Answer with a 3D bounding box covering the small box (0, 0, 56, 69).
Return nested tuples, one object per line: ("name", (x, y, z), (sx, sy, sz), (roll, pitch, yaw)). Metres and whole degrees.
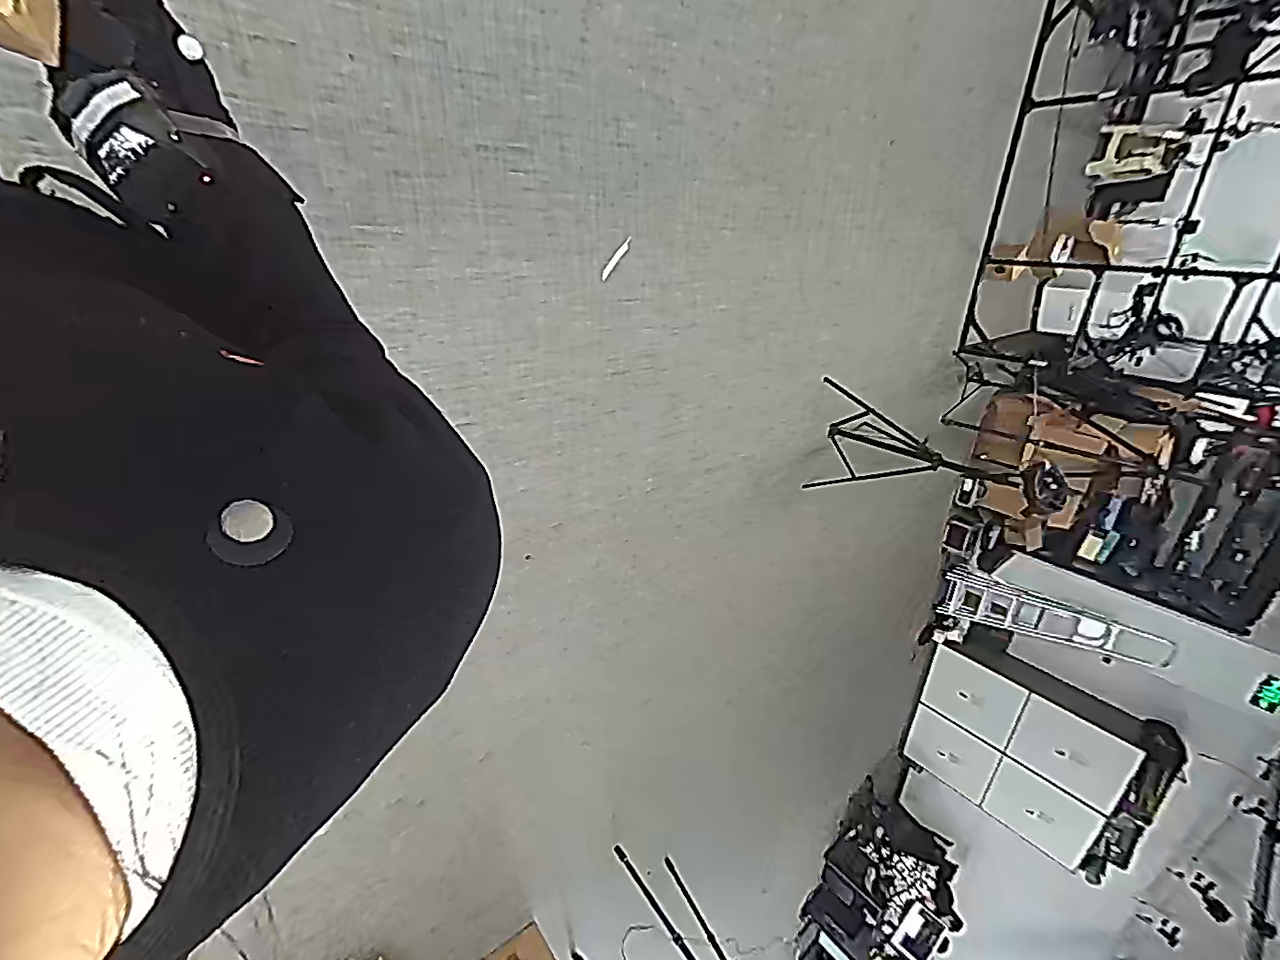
("small box", (-0.314, -0.277, 0.169), (0.176, 0.168, 0.179), (0, 113, -44))
